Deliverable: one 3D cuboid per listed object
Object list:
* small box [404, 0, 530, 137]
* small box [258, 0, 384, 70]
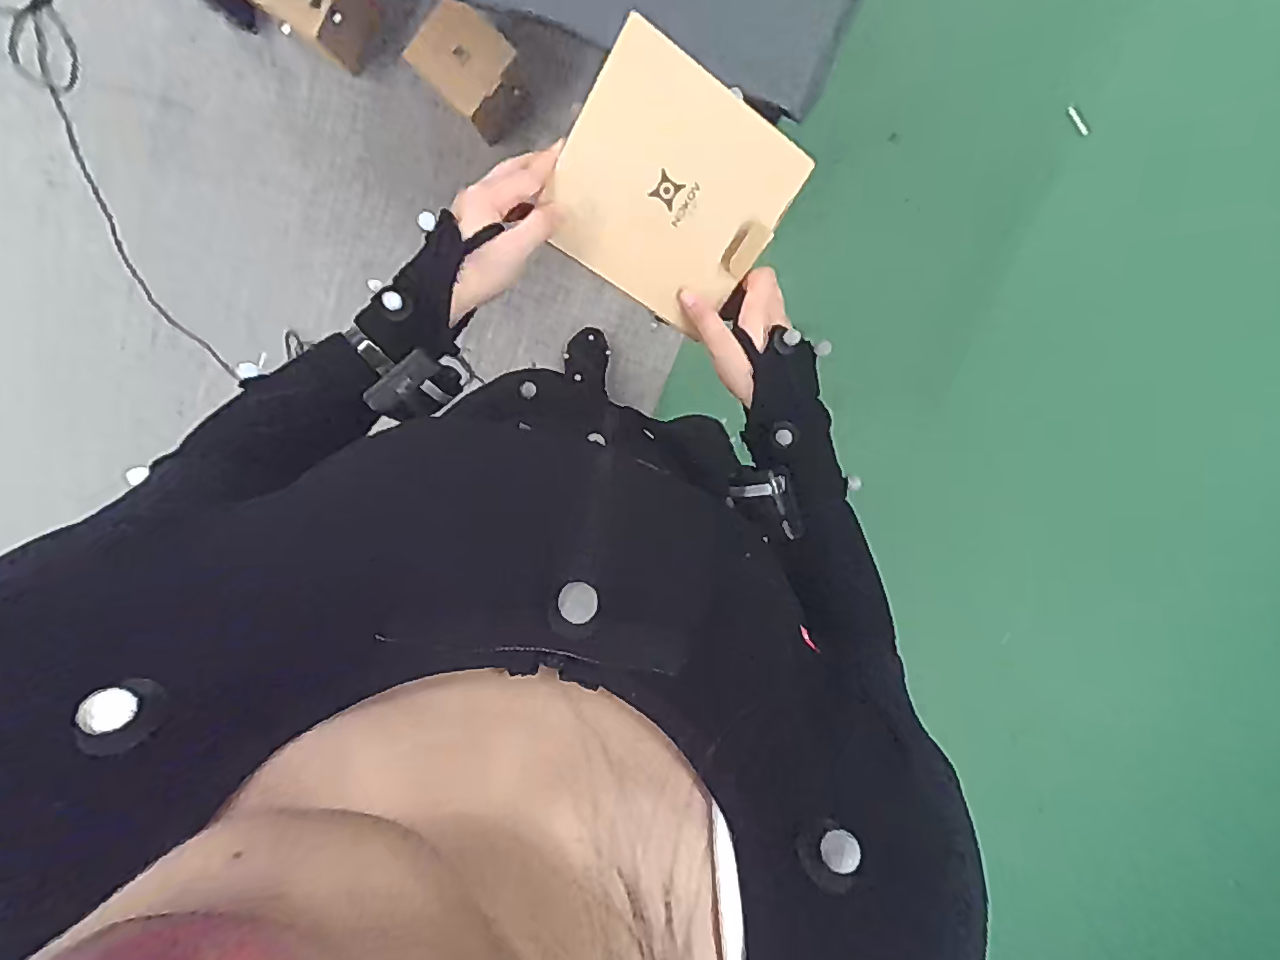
[{"bbox_3d":[-0.364,-0.887,1.174,0.179,0.176,0.168,41,100,-9],"label":"small box"},{"bbox_3d":[-0.682,-1.020,1.135,0.179,0.176,0.168,33,102,-8],"label":"small box"}]
